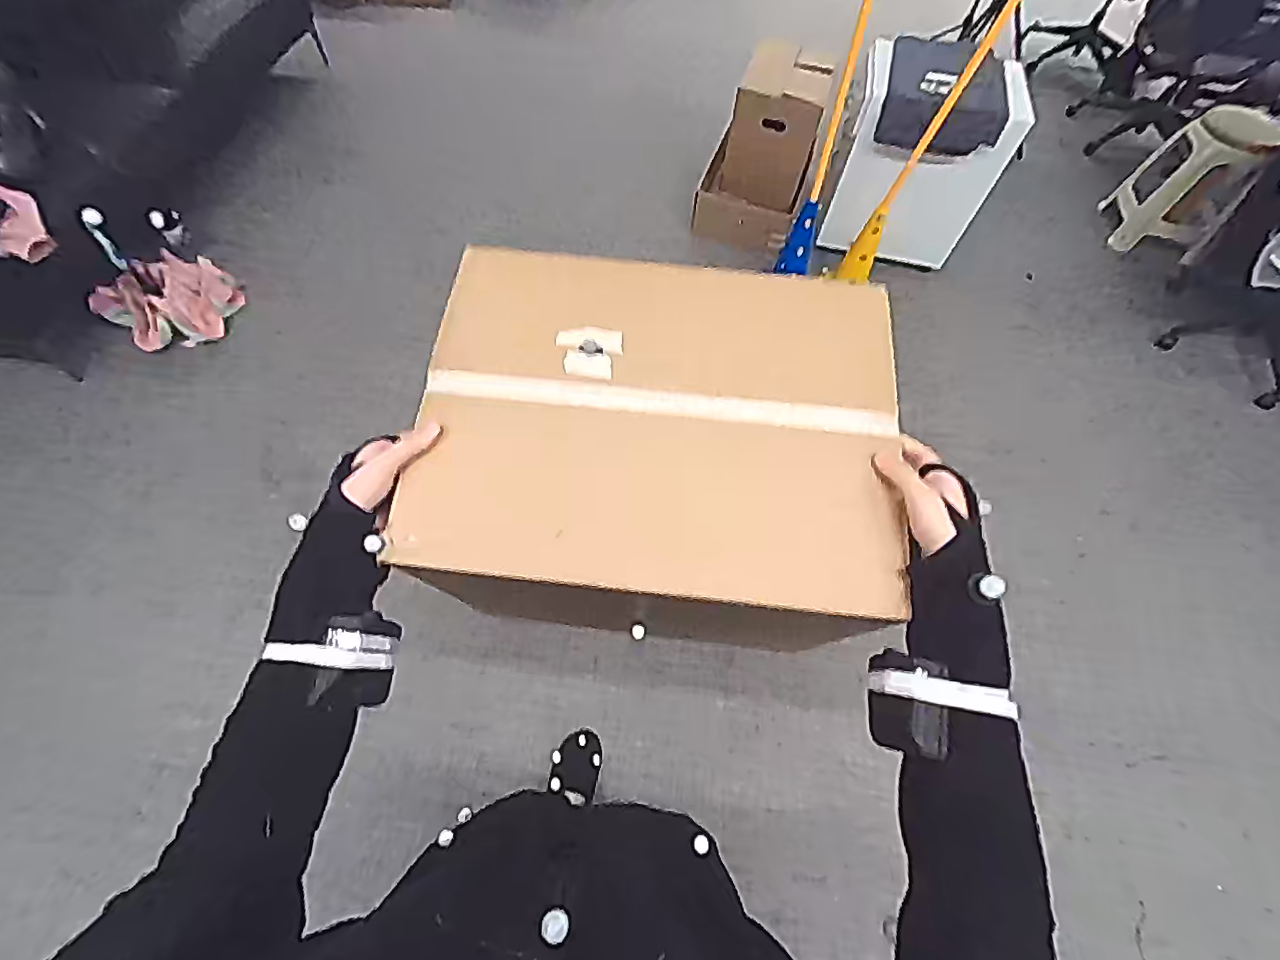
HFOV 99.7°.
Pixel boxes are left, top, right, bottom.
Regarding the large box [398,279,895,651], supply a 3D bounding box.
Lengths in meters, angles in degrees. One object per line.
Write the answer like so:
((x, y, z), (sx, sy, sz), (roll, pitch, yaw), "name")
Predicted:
((0.017, 0.010, 0.619), (0.408, 0.320, 0.320), (6, 67, 2), "large box")
